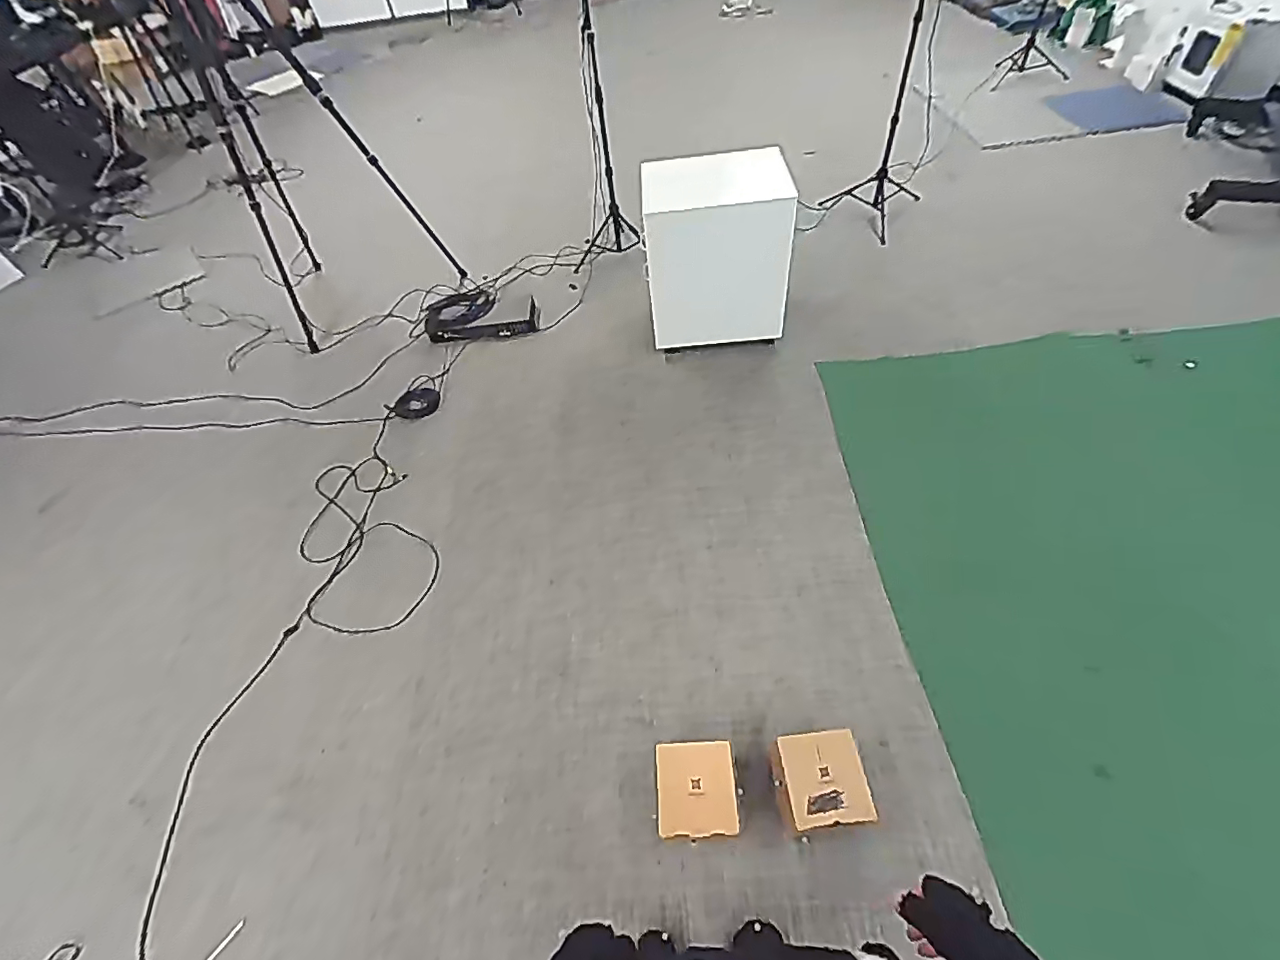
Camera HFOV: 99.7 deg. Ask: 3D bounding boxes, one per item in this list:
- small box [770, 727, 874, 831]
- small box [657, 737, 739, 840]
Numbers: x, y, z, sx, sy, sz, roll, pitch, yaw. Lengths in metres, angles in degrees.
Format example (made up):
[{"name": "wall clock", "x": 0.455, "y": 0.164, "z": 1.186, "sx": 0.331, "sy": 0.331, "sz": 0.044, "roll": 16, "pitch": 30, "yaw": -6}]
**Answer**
[{"name": "small box", "x": 0.391, "y": 0.663, "z": 1.193, "sx": 0.168, "sy": 0.176, "sz": 0.179, "roll": -7, "pitch": 52, "yaw": 2}, {"name": "small box", "x": 0.124, "y": 0.691, "z": 1.207, "sx": 0.168, "sy": 0.176, "sz": 0.179, "roll": -4, "pitch": 53, "yaw": 4}]
